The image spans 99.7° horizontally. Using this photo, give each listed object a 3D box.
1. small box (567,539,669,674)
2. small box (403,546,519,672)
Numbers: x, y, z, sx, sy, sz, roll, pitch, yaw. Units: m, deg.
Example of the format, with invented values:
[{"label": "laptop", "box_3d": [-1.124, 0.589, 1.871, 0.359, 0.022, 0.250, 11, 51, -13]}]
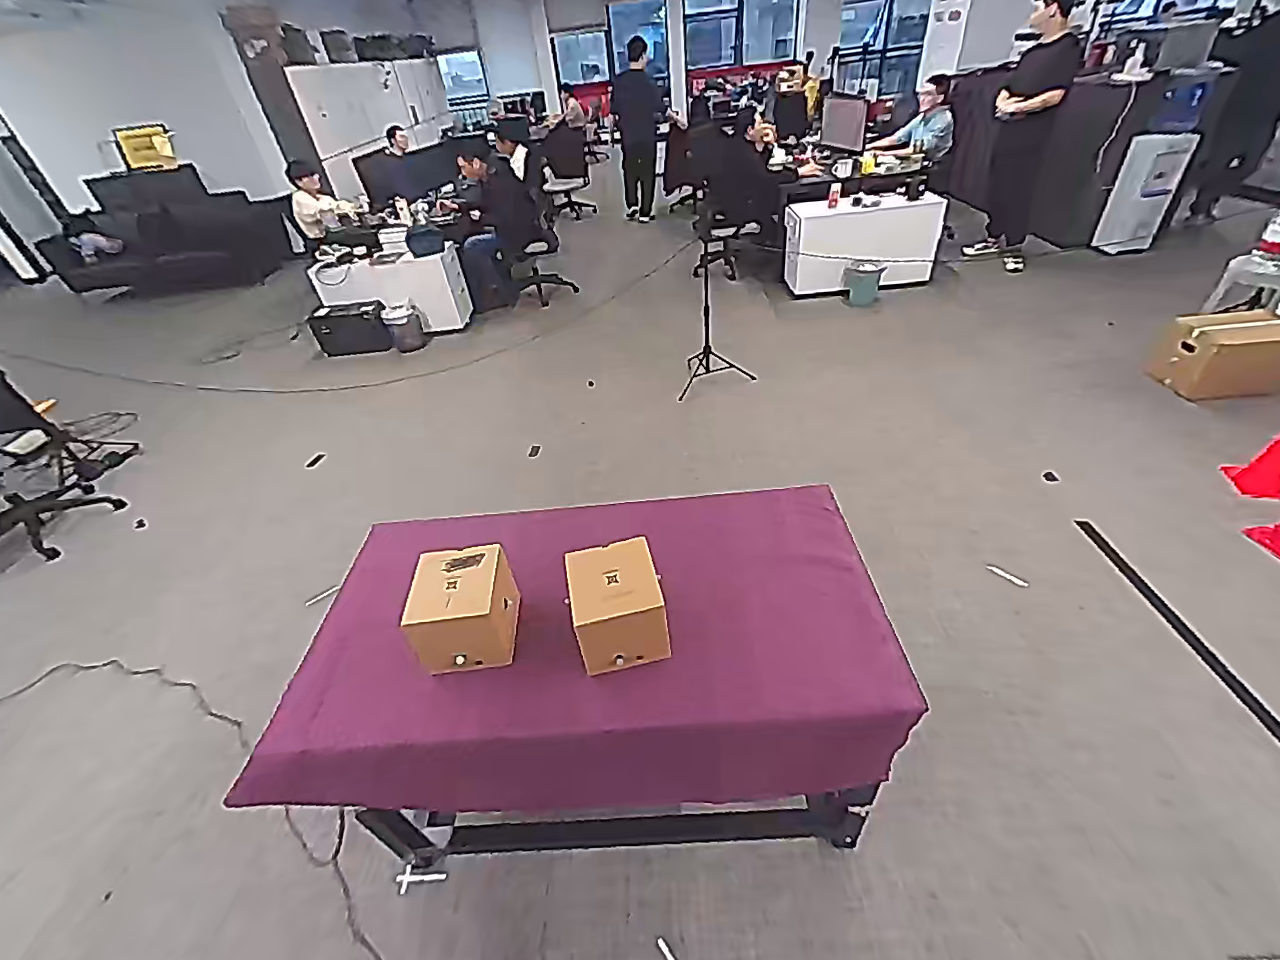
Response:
[{"label": "small box", "box_3d": [-0.044, 0.248, 1.061, 0.168, 0.176, 0.179, -12, 39, -5]}, {"label": "small box", "box_3d": [-0.348, 0.259, 1.092, 0.168, 0.176, 0.179, -7, 39, 0]}]
